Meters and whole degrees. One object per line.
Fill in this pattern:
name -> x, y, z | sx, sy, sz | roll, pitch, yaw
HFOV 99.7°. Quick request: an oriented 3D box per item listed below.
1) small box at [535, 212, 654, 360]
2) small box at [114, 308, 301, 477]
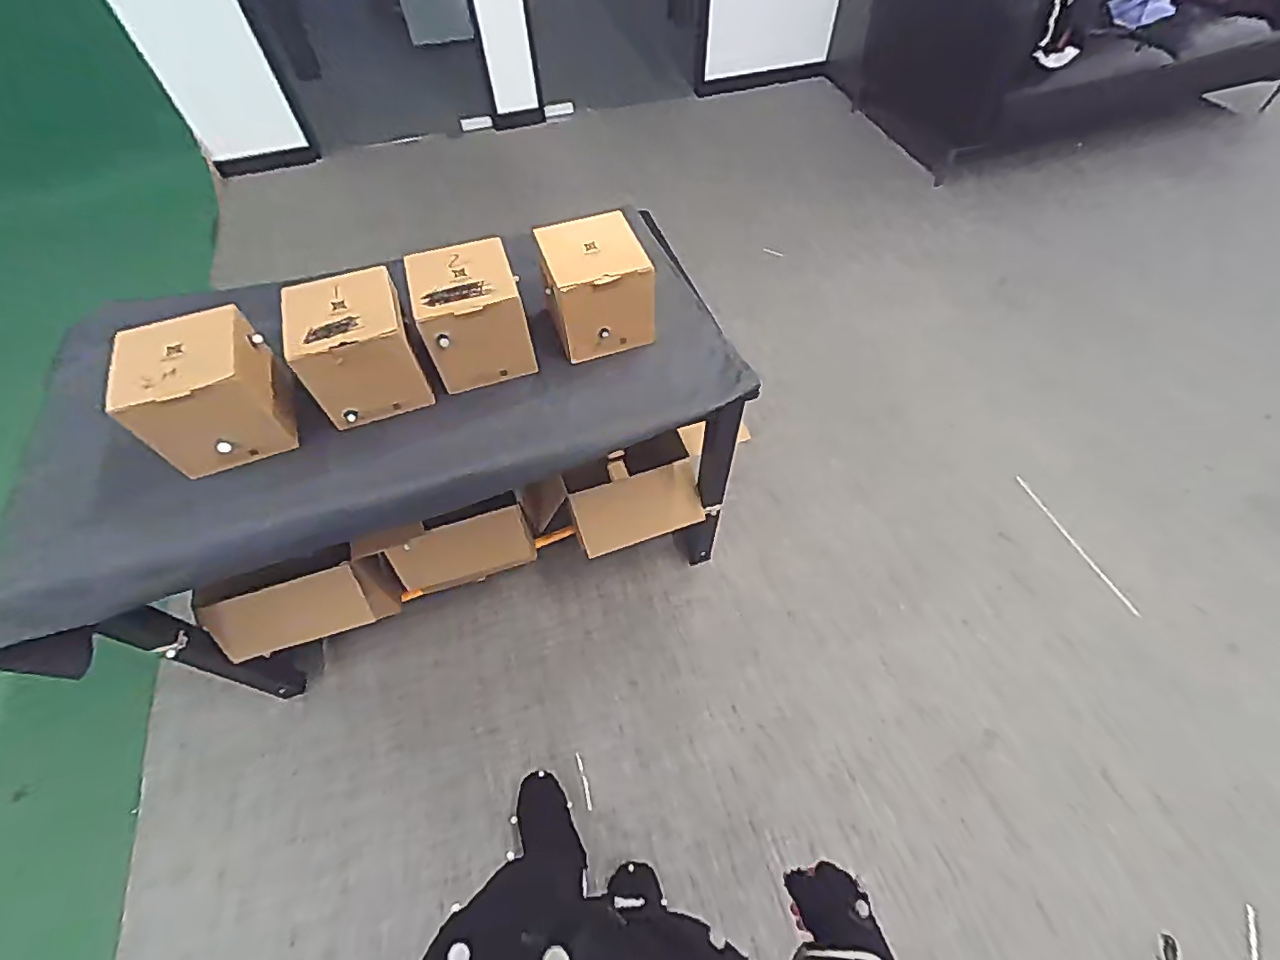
small box -> -0.081, -0.351, 0.987 | 0.168, 0.176, 0.179 | -18, 59, -10
small box -> -0.671, -0.136, 0.860 | 0.168, 0.176, 0.179 | -21, 59, -11
